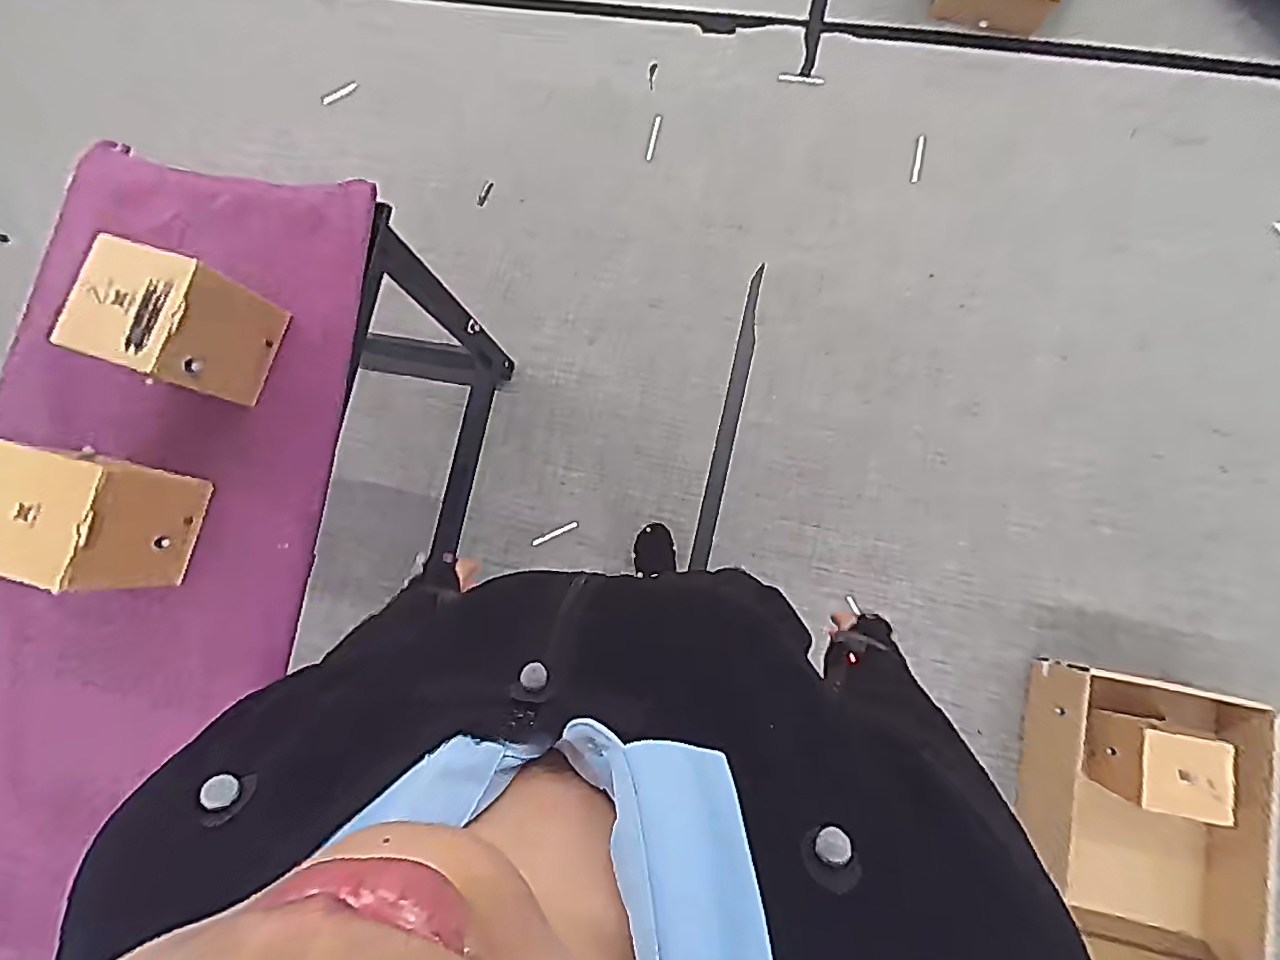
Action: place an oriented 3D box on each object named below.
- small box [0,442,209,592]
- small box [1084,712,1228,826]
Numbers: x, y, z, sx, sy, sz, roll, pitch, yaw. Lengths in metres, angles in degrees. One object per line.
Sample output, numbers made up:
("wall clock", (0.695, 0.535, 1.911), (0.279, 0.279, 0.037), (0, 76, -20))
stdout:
("small box", (-0.785, 0.058, 0.773), (0.179, 0.176, 0.168), (13, 83, 6))
("small box", (1.154, 0.640, 1.222), (0.179, 0.176, 0.168), (9, 83, 6))
